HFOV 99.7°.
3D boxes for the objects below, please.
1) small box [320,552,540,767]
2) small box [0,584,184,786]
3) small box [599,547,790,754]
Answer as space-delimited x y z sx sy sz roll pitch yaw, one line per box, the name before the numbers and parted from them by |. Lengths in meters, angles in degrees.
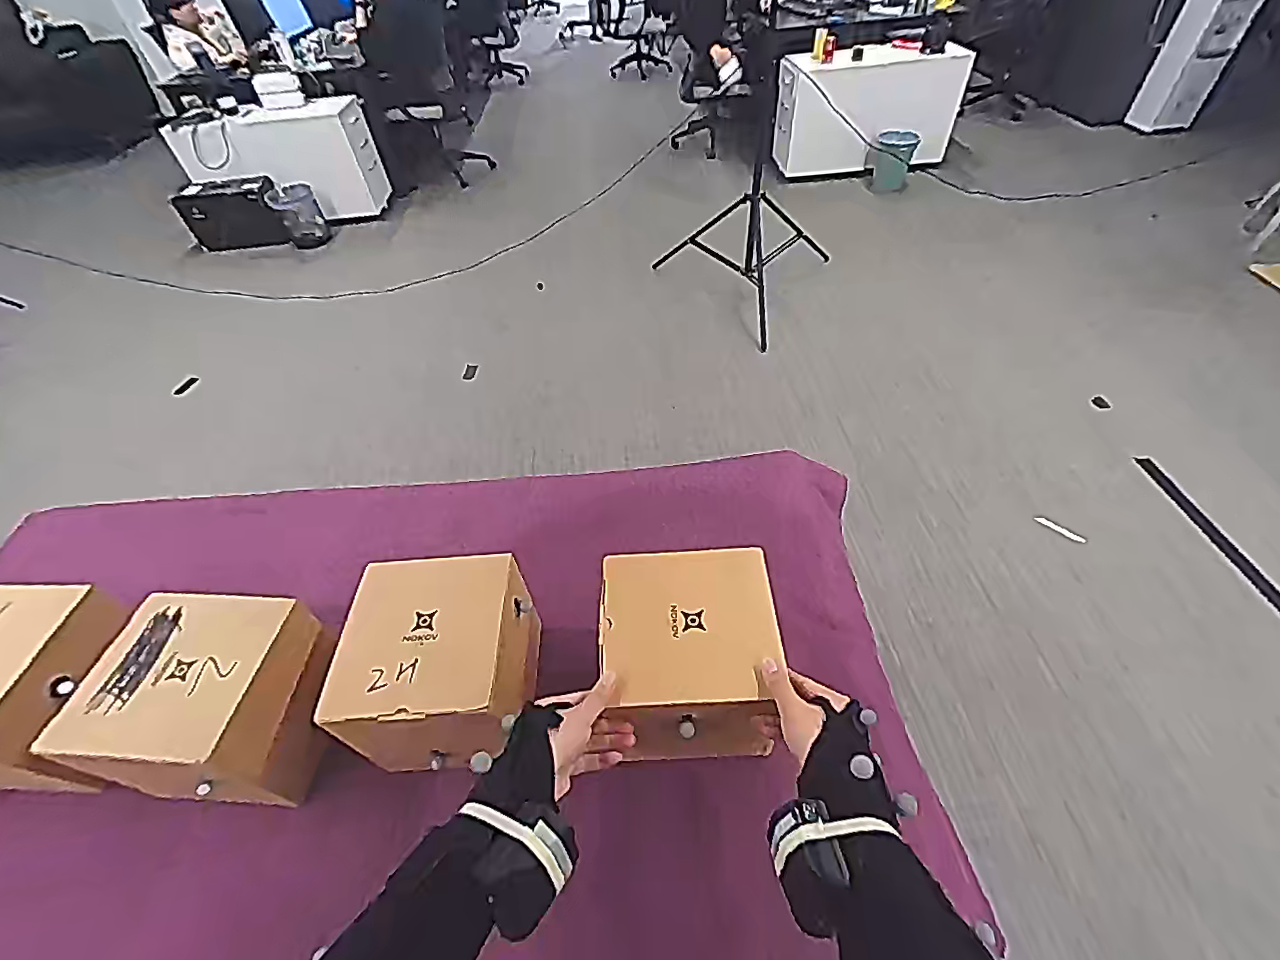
small box | -0.214 0.203 0.612 0.168 0.176 0.179 -5 48 1
small box | -0.691 0.237 0.620 0.168 0.176 0.179 0 48 4
small box | 0.054 0.192 0.599 0.179 0.176 0.168 -4 48 3
